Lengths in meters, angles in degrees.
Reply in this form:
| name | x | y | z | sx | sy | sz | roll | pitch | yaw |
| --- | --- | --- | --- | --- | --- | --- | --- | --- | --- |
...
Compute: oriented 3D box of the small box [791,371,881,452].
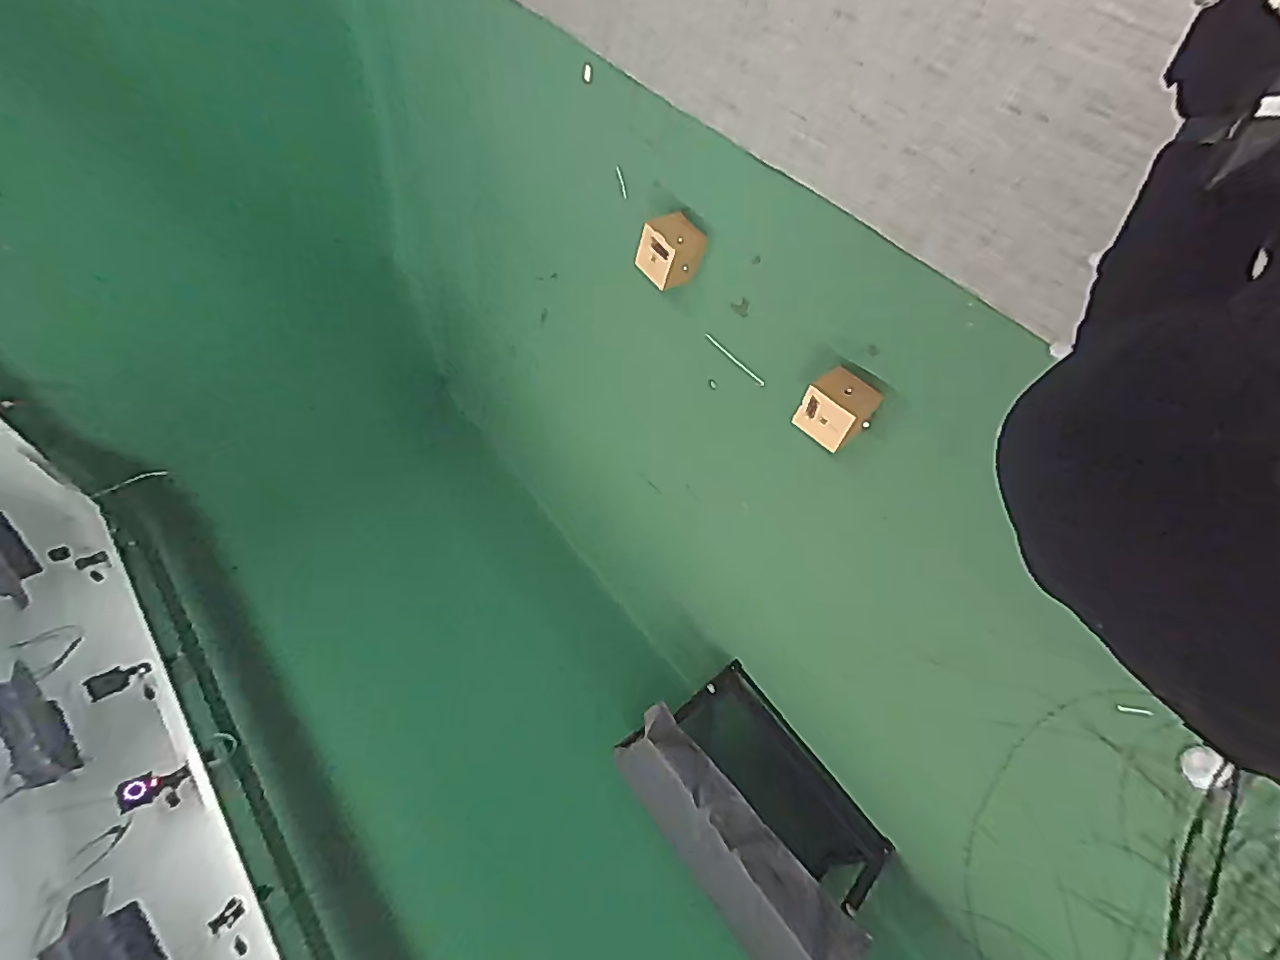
| name | x | y | z | sx | sy | sz | roll | pitch | yaw |
| --- | --- | --- | --- | --- | --- | --- | --- | --- | --- |
| small box | 0.622 | -0.225 | 1.719 | 0.179 | 0.176 | 0.168 | 44 | 147 | 23 |
